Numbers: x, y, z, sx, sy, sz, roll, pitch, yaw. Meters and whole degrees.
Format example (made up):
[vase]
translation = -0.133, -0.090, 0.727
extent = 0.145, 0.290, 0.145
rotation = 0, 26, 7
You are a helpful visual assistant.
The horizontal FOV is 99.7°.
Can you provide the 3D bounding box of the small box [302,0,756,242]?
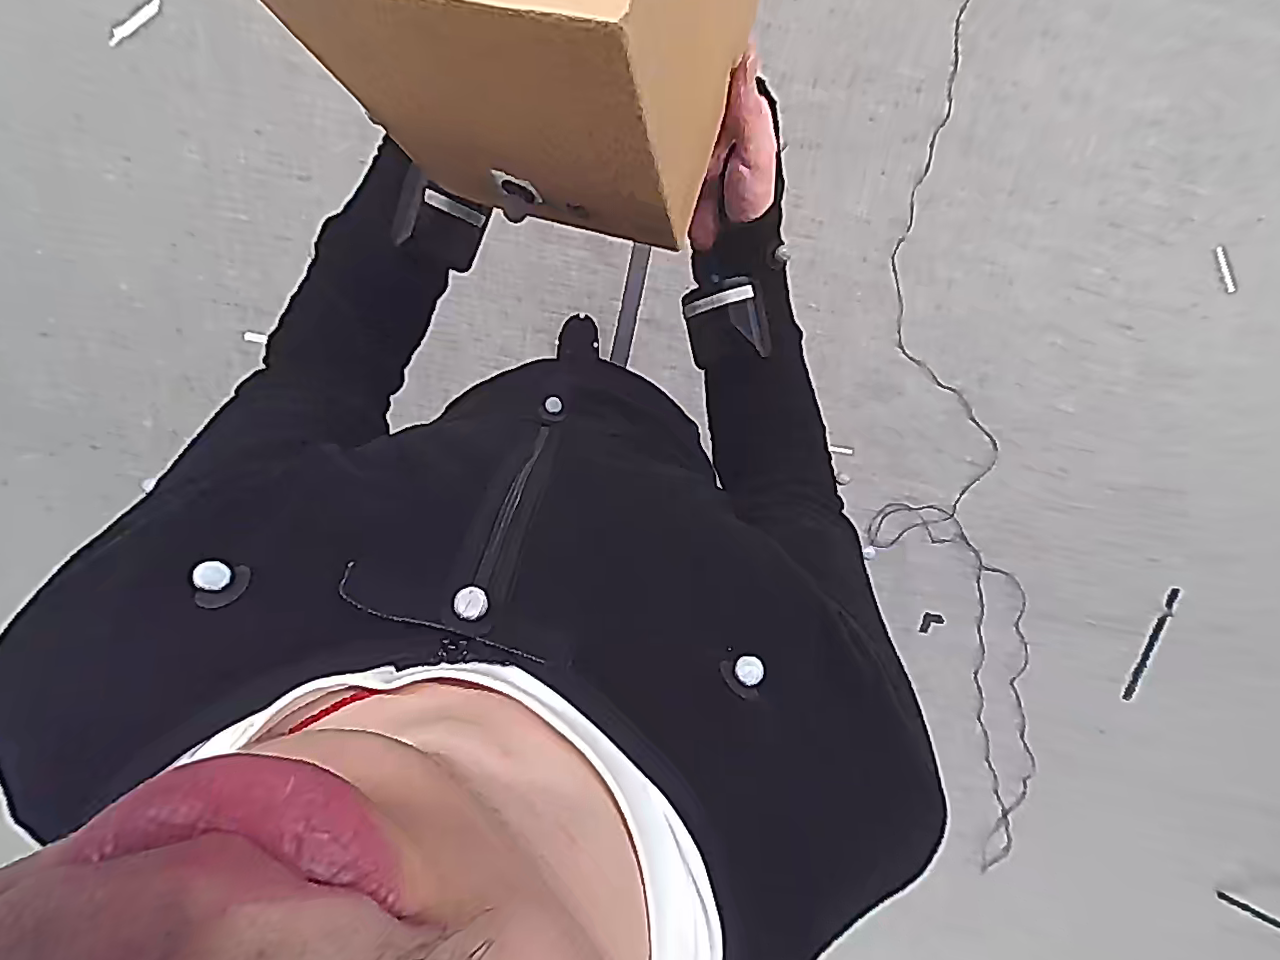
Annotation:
[small box]
translation = -0.036, -0.256, 0.276
extent = 0.168, 0.176, 0.179
rotation = 17, 92, 11
